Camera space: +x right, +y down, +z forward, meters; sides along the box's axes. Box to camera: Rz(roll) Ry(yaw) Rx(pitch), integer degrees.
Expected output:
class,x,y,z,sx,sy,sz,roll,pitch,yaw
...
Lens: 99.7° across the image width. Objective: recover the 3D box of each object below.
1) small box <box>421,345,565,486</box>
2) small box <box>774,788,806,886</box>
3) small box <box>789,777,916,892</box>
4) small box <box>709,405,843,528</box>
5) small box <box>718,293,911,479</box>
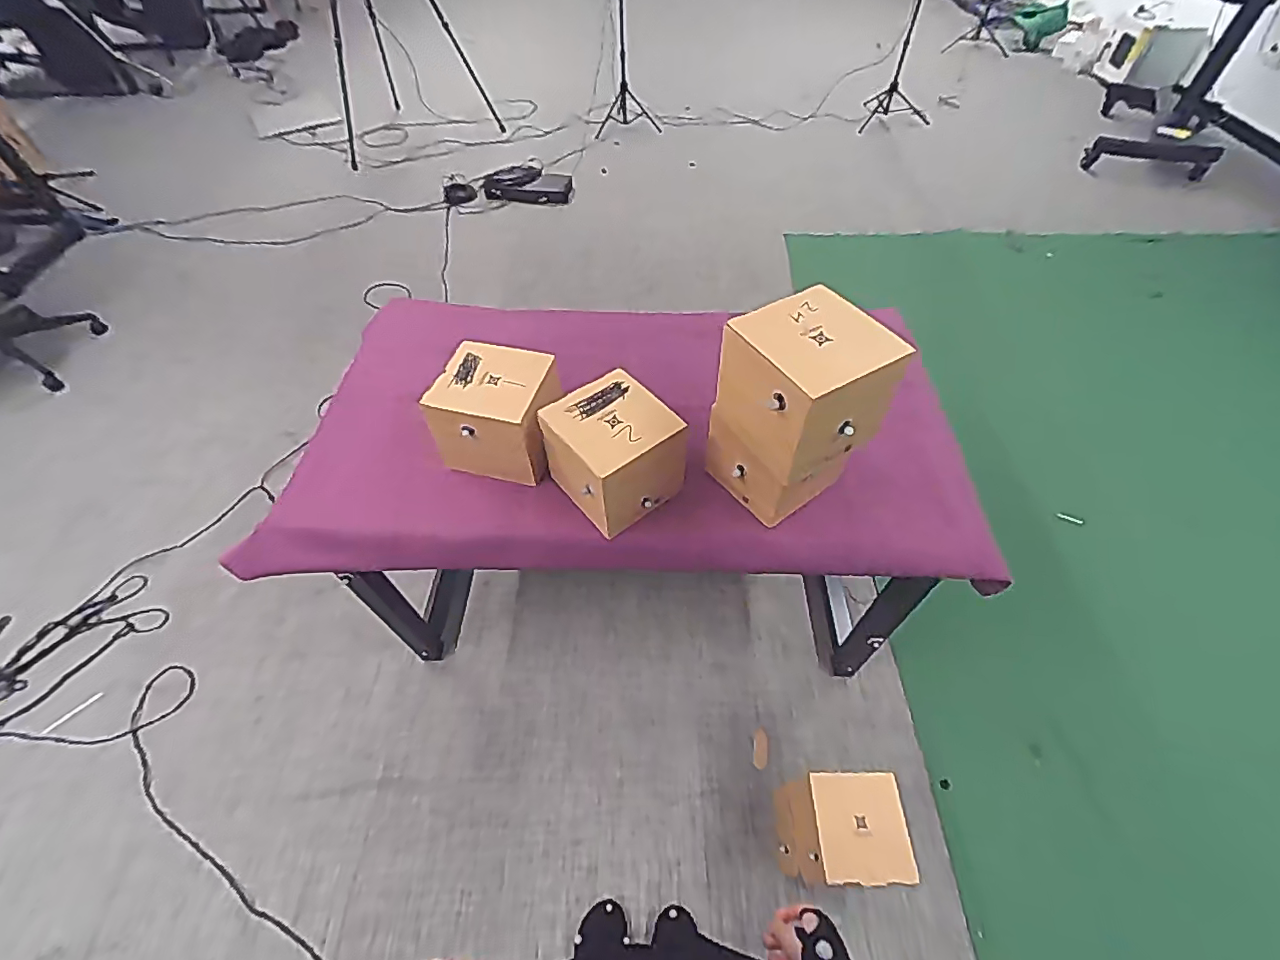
class,x,y,z,sx,sy,sz,roll,pitch,yaw
small box,-0.247,-0.110,0.956,0.179,0.176,0.168,12,54,9
small box,0.394,0.784,1.178,0.179,0.176,0.168,2,53,2
small box,0.398,0.688,1.048,0.168,0.176,0.179,0,54,0
small box,0.231,-0.052,0.904,0.179,0.176,0.168,-31,58,-21
small box,0.226,-0.123,0.749,0.168,0.176,0.179,-24,54,-17
